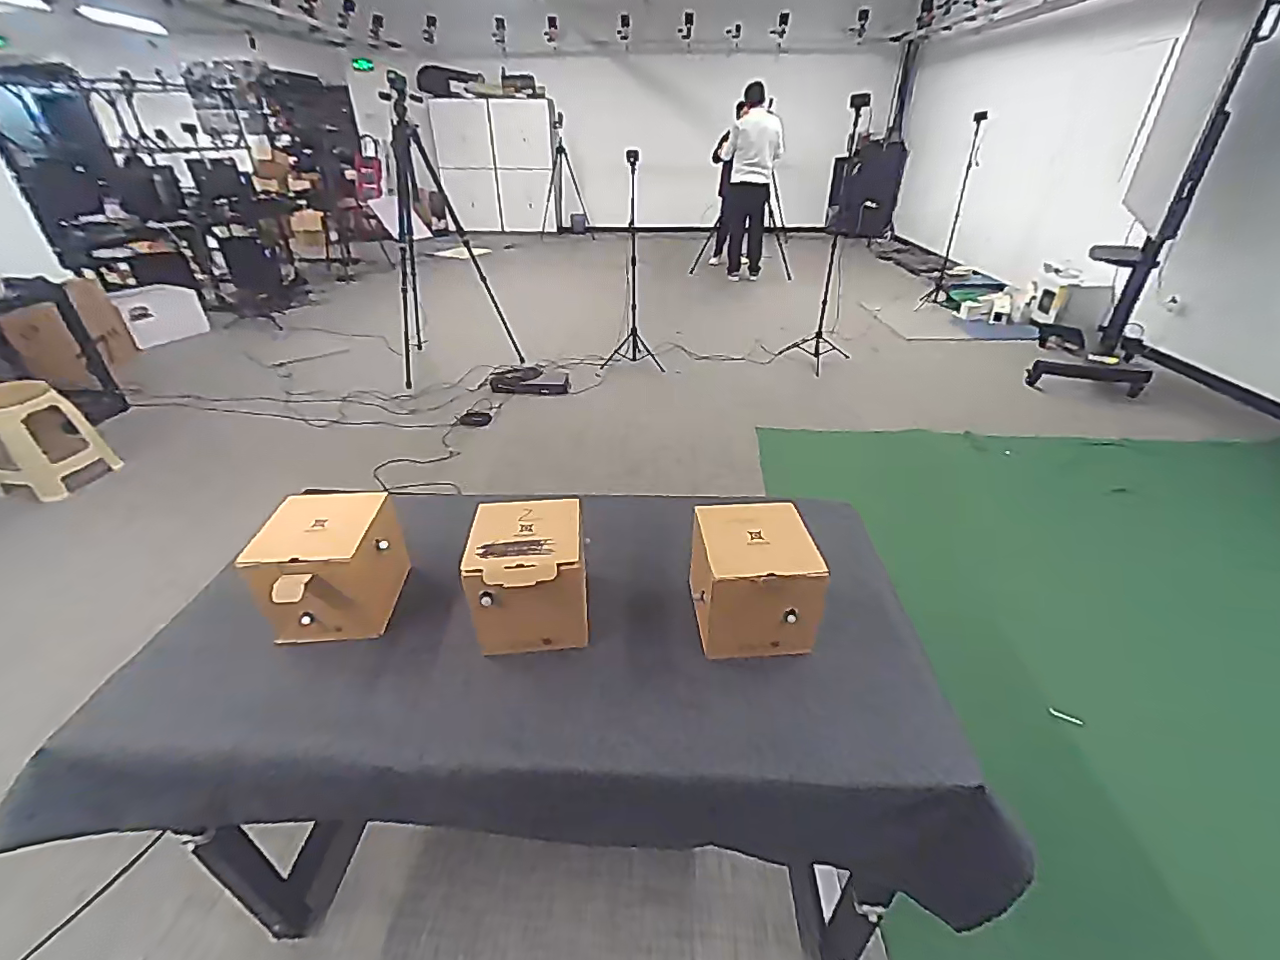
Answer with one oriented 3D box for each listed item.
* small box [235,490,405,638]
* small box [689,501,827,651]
[{"bbox_3d":[-0.499,0.133,0.879,0.168,0.176,0.179,-2,33,-4],"label":"small box"},{"bbox_3d":[0.173,0.152,0.850,0.168,0.176,0.179,-2,31,-4],"label":"small box"}]
